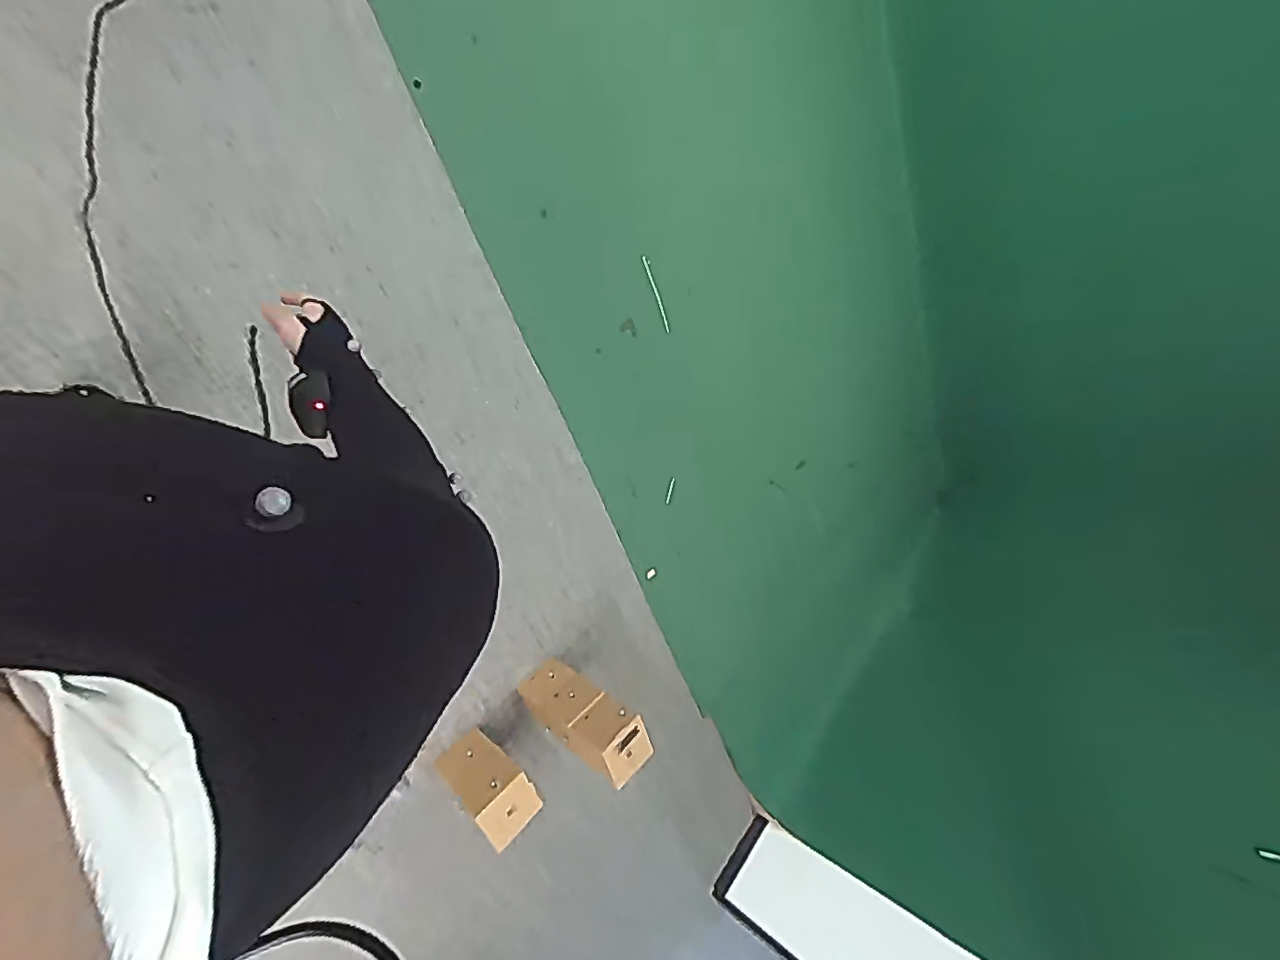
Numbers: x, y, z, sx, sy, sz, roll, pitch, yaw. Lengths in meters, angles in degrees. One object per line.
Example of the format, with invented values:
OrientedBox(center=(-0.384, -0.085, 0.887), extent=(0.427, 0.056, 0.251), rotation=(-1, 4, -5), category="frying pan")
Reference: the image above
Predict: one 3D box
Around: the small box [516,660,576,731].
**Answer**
OrientedBox(center=(-0.323, 0.781, 1.964), extent=(0.168, 0.176, 0.179), rotation=(-35, 119, -34), category="small box")

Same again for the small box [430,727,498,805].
OrientedBox(center=(-0.553, 0.955, 1.777), extent=(0.179, 0.176, 0.168), rotation=(-38, 120, -33), category="small box")

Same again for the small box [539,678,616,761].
OrientedBox(center=(-0.216, 0.801, 1.840), extent=(0.168, 0.176, 0.179), rotation=(-34, 118, -34), category="small box")

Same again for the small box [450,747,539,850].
OrientedBox(center=(-0.446, 0.963, 1.652), extent=(0.179, 0.176, 0.168), rotation=(-36, 118, -33), category="small box")
